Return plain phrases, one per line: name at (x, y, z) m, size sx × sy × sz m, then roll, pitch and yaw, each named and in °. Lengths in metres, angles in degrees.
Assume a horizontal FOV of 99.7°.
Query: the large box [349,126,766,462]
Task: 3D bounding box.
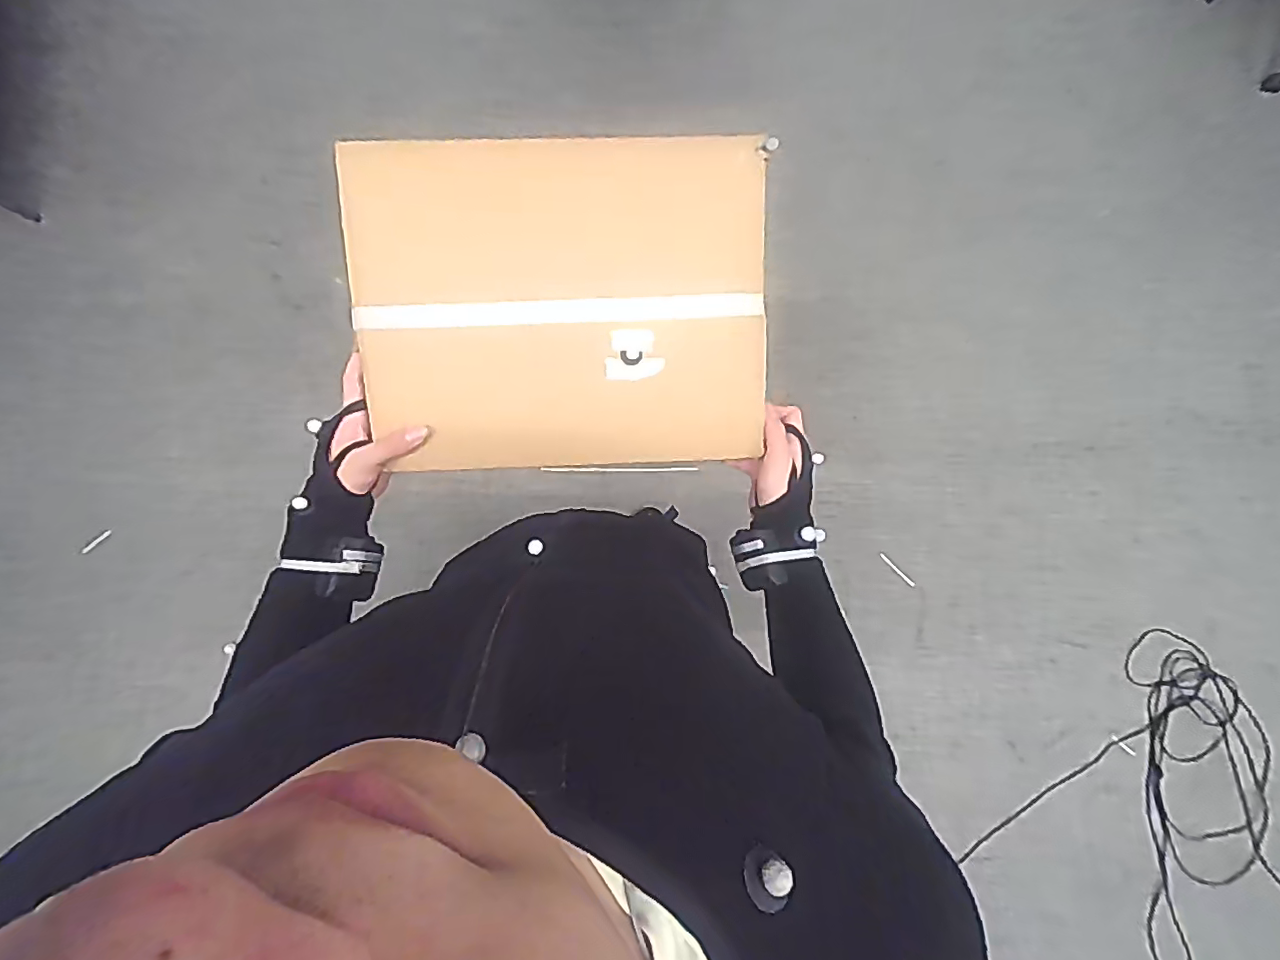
large box at (-0.080, -0.209, 0.690) m, size 0.408 × 0.320 × 0.320 m, roll -3°, pitch 102°, yaw -3°
